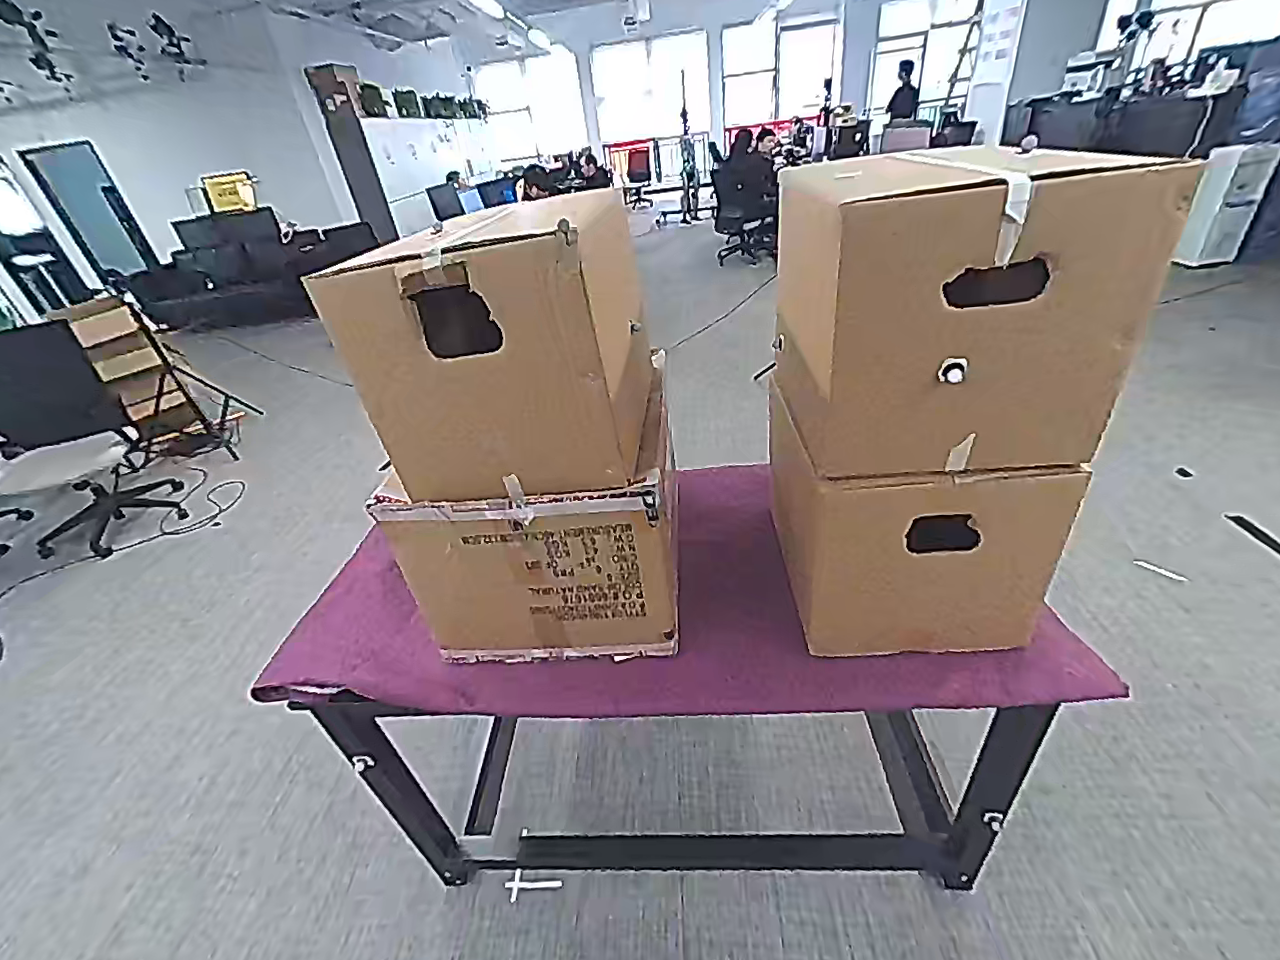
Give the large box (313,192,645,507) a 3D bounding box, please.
[{"bbox_3d":[-0.172,-0.211,0.807,0.320,0.320,0.408,-7,33,10],"label":"large box"}]
